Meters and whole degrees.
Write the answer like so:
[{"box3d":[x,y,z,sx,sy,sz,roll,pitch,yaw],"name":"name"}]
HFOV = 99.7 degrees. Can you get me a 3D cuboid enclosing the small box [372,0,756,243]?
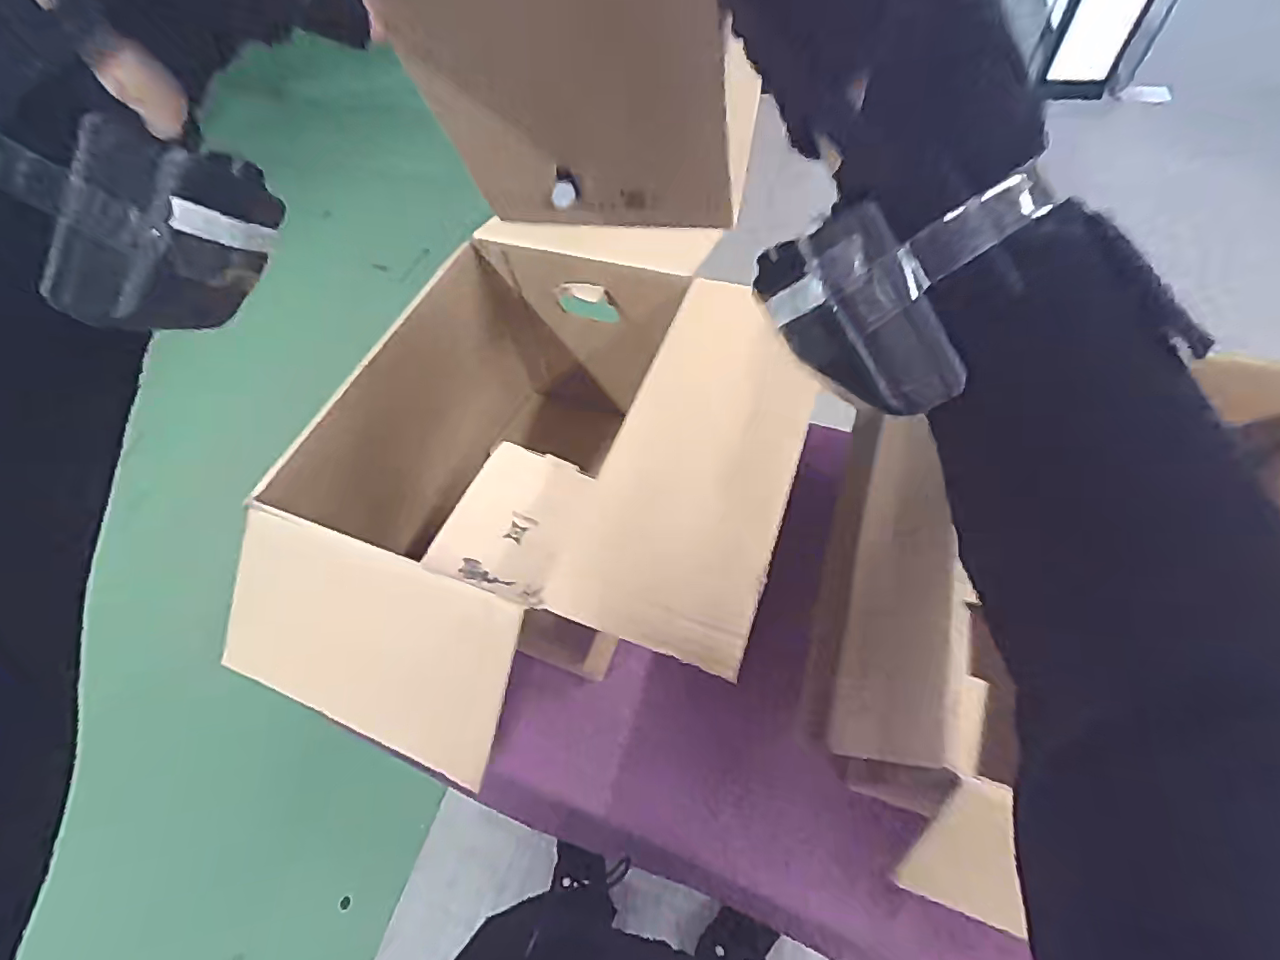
[{"box3d":[-0.024,-0.273,0.321,0.168,0.176,0.179,8,74,15],"name":"small box"}]
